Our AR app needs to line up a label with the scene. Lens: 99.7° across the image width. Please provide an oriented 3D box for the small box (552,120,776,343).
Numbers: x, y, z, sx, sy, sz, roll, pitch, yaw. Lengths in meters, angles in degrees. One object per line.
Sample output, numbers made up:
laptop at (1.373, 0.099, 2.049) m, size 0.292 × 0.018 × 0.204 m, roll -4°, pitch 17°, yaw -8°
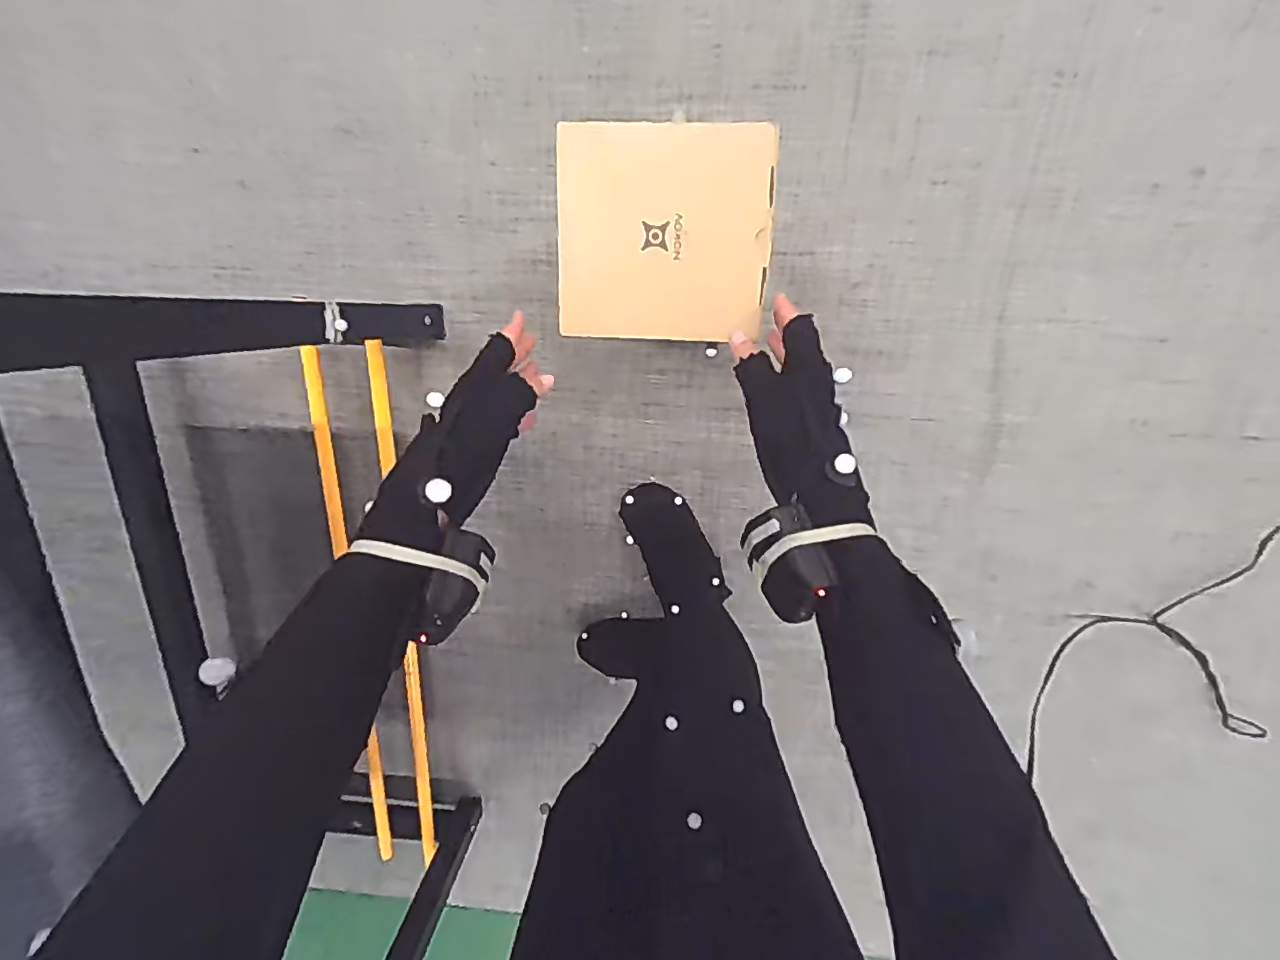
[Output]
small box at (0.024, -0.221, 0.514) m, size 0.179 × 0.176 × 0.168 m, roll 3°, pitch 109°, yaw 5°
